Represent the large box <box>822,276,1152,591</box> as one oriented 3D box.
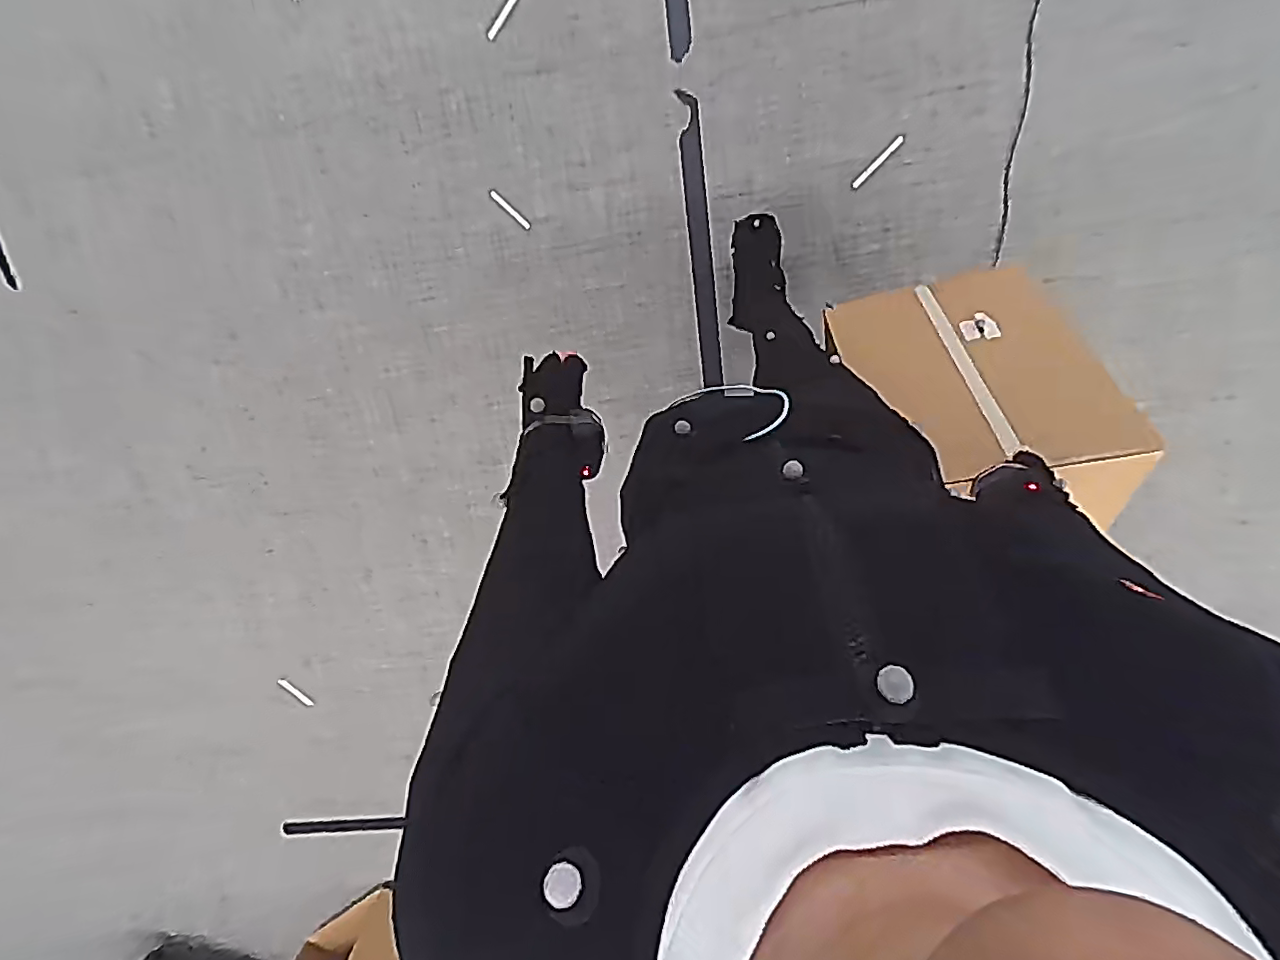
[{"bbox_3d":[0.515,-0.074,0.921,0.320,0.408,0.320,-10,139,10],"label":"large box"}]
